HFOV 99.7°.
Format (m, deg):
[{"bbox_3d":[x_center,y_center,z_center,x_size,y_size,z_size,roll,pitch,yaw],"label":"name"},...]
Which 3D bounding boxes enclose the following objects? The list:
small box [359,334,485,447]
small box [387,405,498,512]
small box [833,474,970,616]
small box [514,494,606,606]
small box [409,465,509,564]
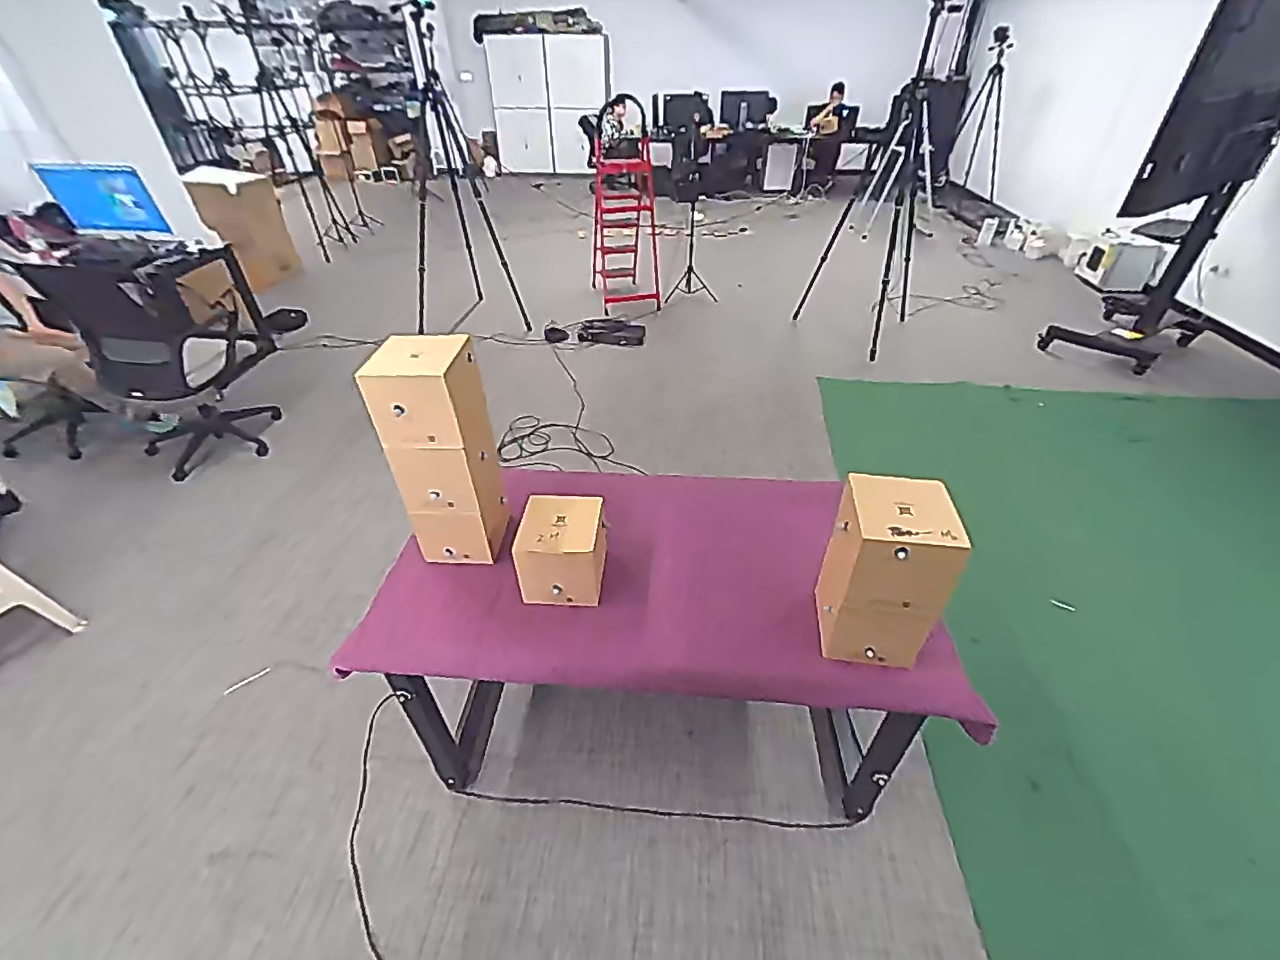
[{"bbox_3d":[-0.423,-0.177,1.085,0.168,0.176,0.179,0,38,2],"label":"small box"},{"bbox_3d":[-0.420,-0.051,1.187,0.168,0.176,0.179,0,39,3],"label":"small box"},{"bbox_3d":[0.449,0.113,0.963,0.168,0.176,0.179,4,38,9],"label":"small box"},{"bbox_3d":[-0.166,0.151,1.191,0.168,0.176,0.179,2,39,4],"label":"small box"},{"bbox_3d":[-0.419,0.078,1.288,0.168,0.176,0.179,1,39,3],"label":"small box"}]
